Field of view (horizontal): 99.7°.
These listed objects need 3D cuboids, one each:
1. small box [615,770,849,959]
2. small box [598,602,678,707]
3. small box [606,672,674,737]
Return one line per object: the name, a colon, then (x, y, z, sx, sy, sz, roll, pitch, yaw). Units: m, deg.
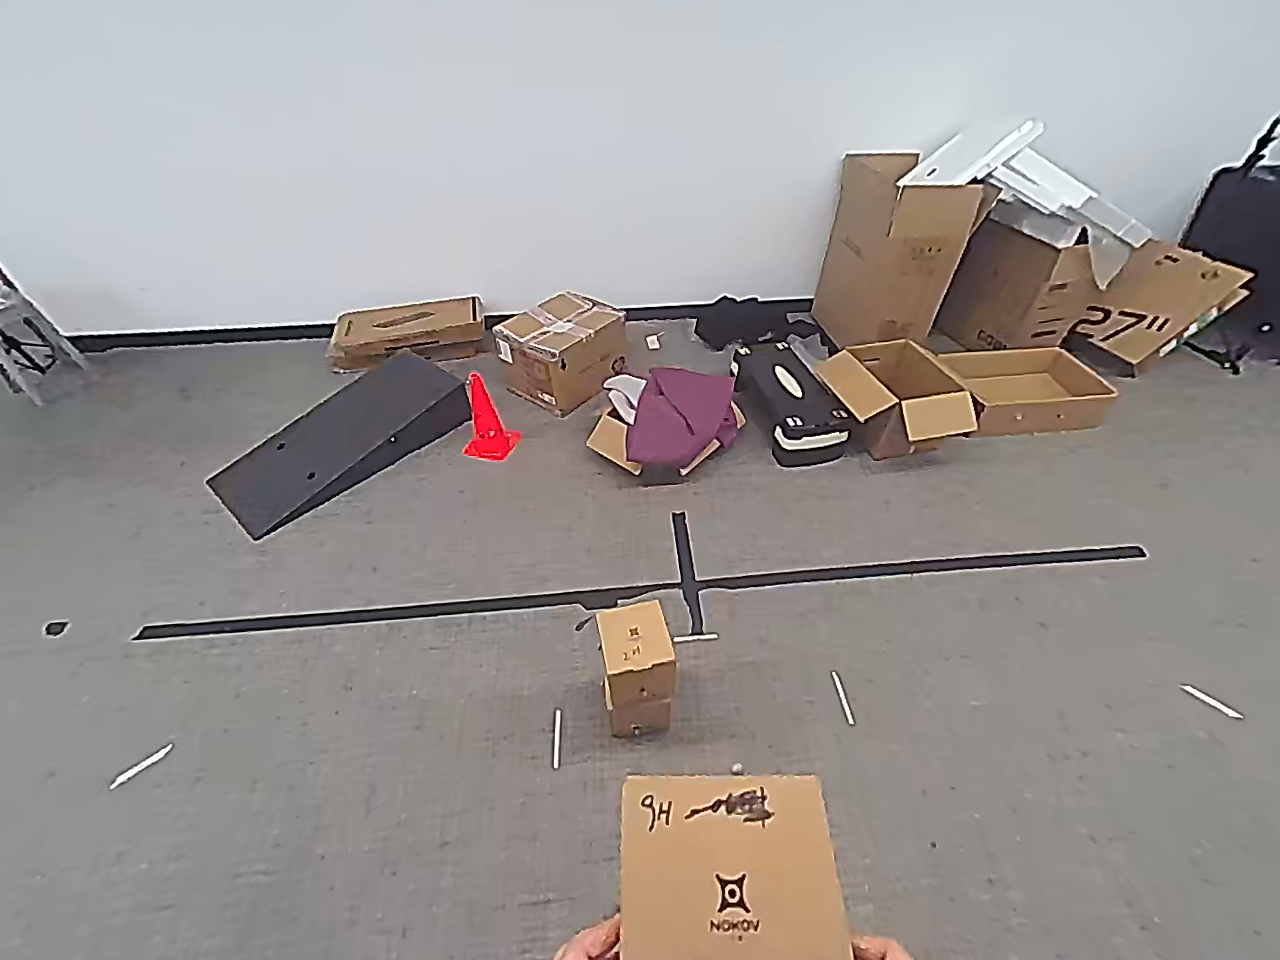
small box: (0.066, 0.358, 0.458, 0.168, 0.176, 0.179, 0, 52, 0)
small box: (-0.007, 0.438, 1.361, 0.168, 0.176, 0.179, -11, 44, -7)
small box: (-0.004, 0.568, 1.464, 0.168, 0.176, 0.179, -7, 44, -4)
